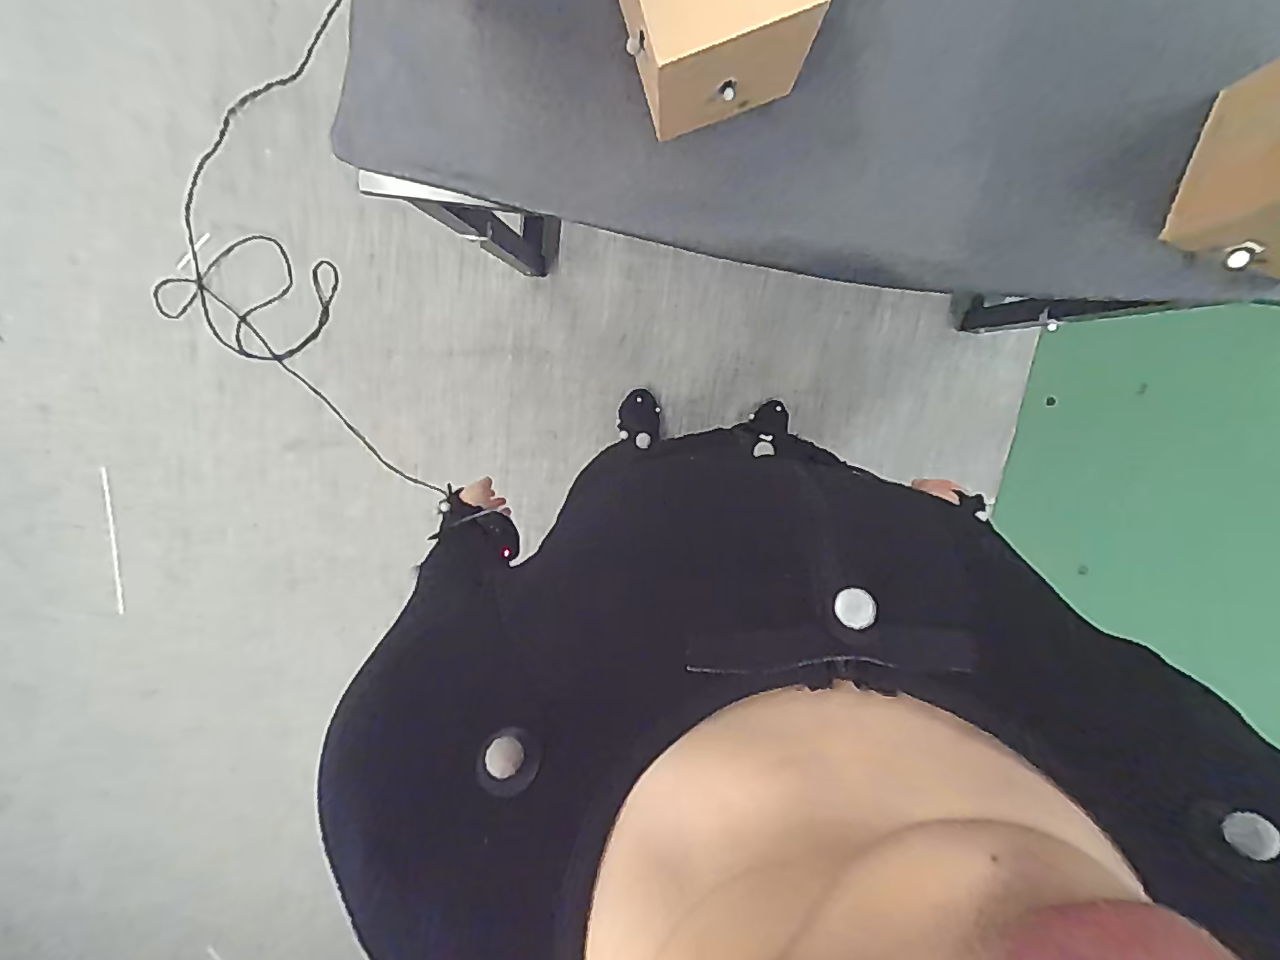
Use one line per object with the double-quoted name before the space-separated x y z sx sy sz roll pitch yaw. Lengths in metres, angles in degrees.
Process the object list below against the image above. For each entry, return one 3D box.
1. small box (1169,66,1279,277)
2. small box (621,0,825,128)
"small box" 0.713 -0.330 0.549 0.168 0.176 0.179 17 99 2
"small box" 0.072 -0.501 0.558 0.168 0.176 0.179 -17 100 6
